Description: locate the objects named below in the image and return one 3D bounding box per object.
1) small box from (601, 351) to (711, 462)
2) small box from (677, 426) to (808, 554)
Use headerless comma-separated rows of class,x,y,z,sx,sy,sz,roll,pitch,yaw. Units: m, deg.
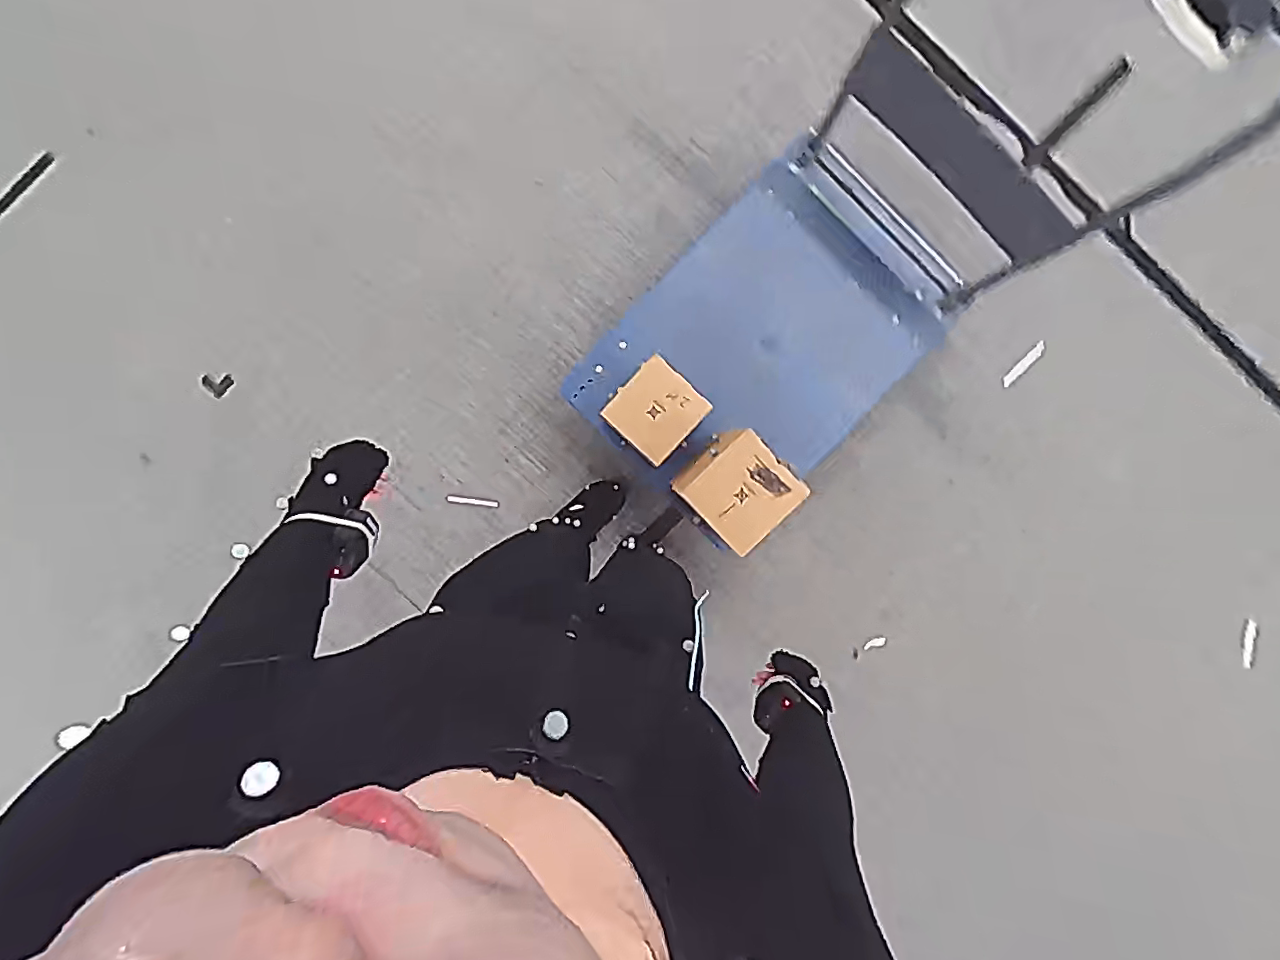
small box,0.034,-0.156,1.207,0.168,0.176,0.179,44,91,-3
small box,0.187,0.013,1.053,0.179,0.176,0.168,-43,93,2
